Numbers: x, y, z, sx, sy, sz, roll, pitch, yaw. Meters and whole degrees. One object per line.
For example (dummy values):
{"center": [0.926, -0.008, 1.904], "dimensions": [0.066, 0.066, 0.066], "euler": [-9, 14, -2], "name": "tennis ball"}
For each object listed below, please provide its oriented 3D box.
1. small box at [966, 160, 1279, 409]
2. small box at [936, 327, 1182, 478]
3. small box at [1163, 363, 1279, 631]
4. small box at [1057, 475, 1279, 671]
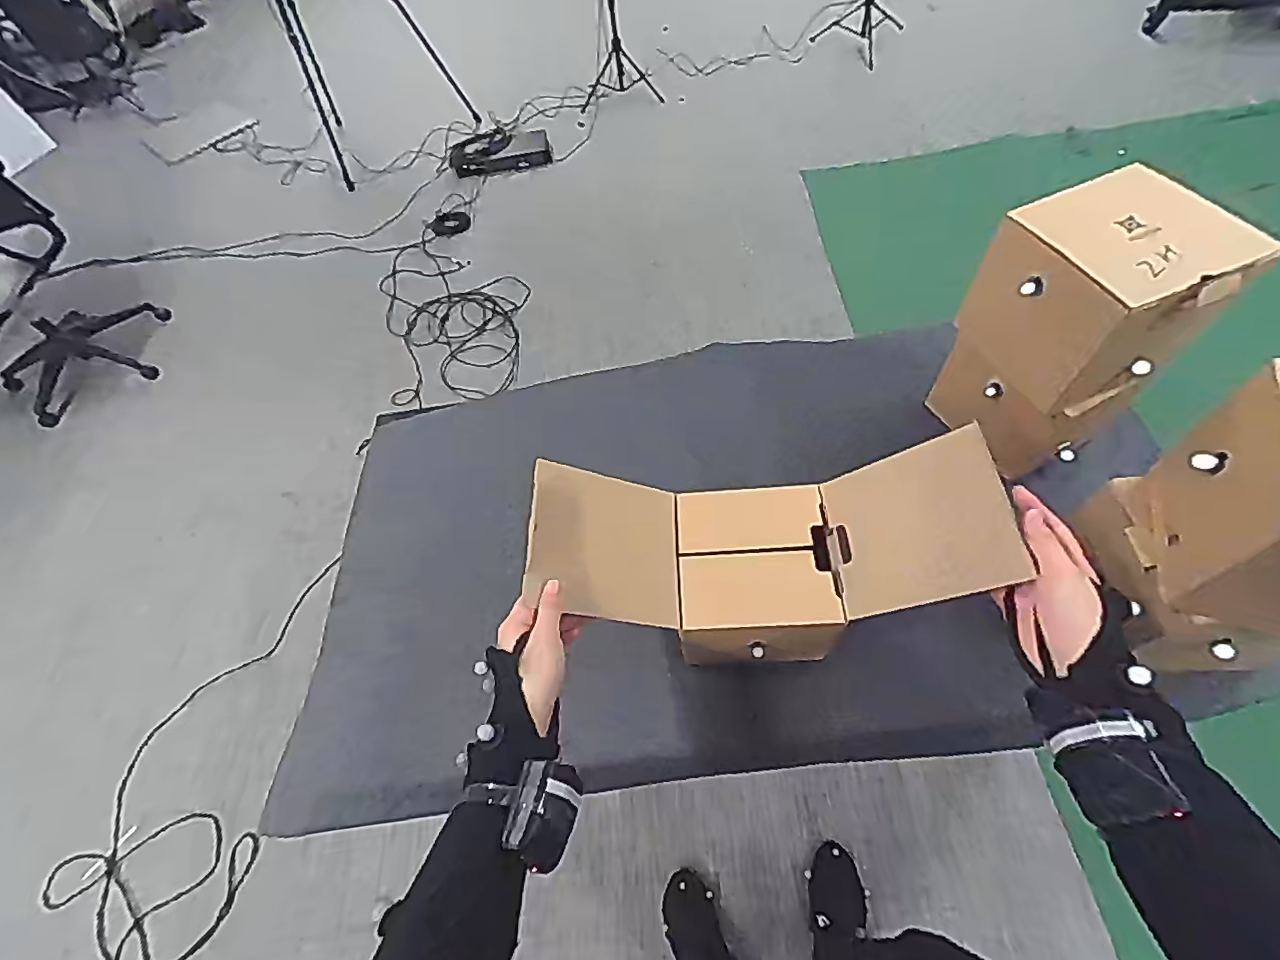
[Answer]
{"center": [0.515, -0.213, 0.611], "dimensions": [0.168, 0.176, 0.179], "euler": [-22, 60, -1], "name": "small box"}
{"center": [0.555, -0.134, 0.752], "dimensions": [0.168, 0.176, 0.179], "euler": [-28, 61, -5], "name": "small box"}
{"center": [0.589, 0.030, 0.452], "dimensions": [0.179, 0.176, 0.168], "euler": [16, 60, 17], "name": "small box"}
{"center": [0.606, 0.107, 0.596], "dimensions": [0.179, 0.176, 0.168], "euler": [-3, 56, 7], "name": "small box"}
